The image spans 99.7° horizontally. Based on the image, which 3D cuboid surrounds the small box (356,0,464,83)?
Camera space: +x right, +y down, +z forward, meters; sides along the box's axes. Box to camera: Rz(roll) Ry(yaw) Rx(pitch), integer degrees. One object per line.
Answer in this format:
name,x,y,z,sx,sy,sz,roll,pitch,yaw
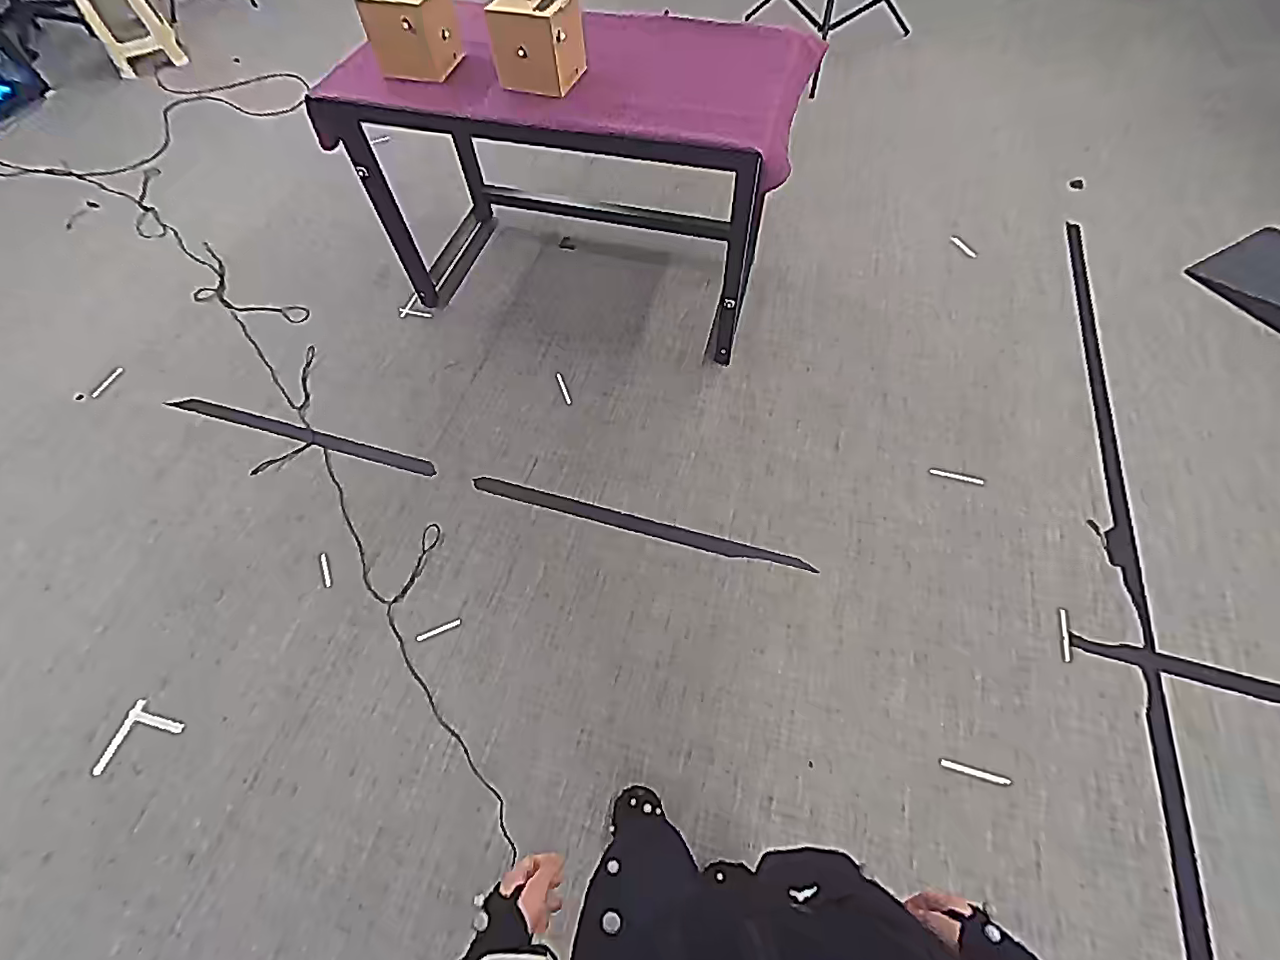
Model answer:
small box,-0.584,-1.162,1.402,0.179,0.176,0.168,11,60,8
